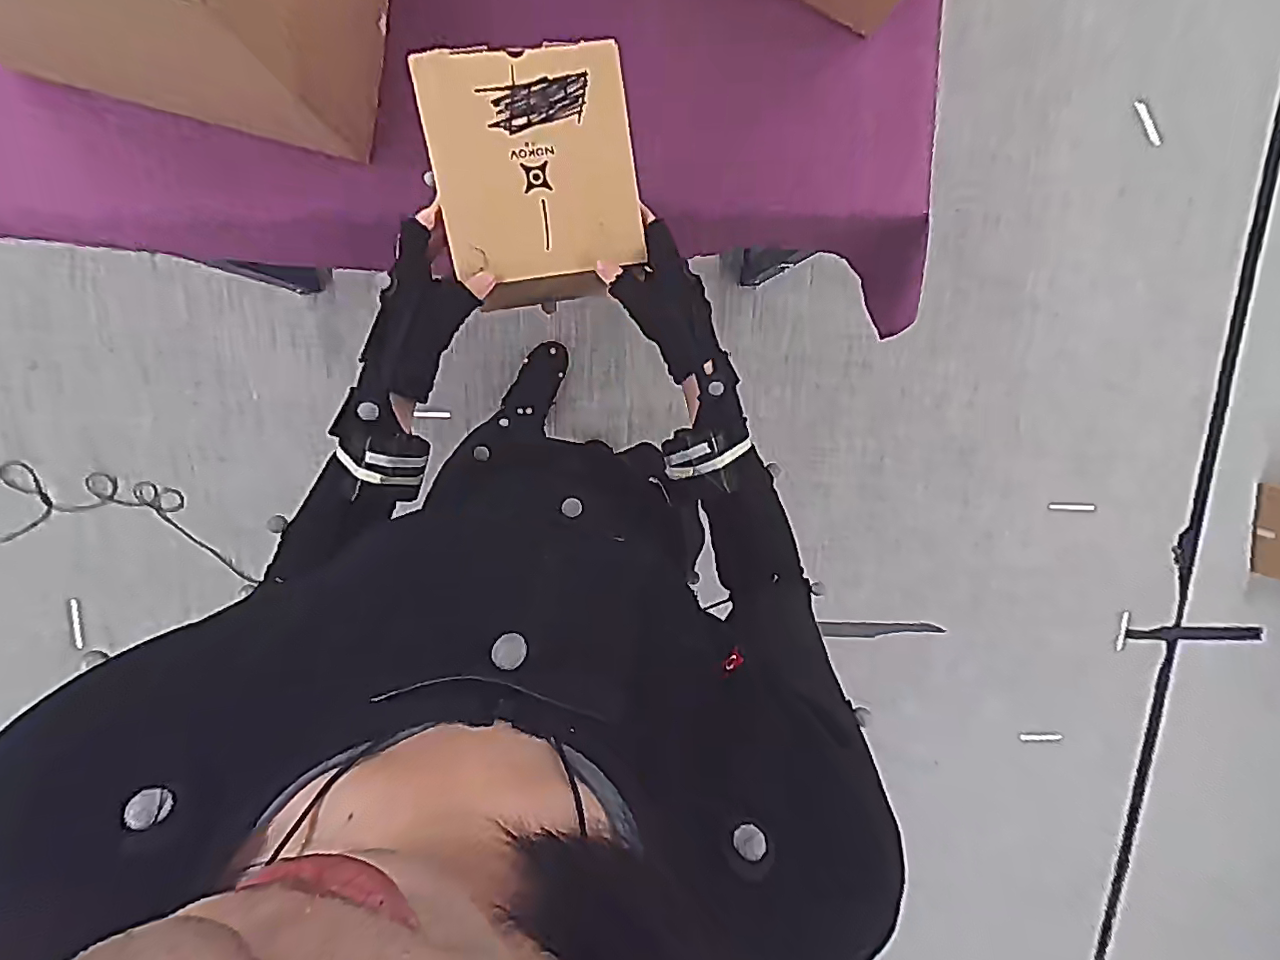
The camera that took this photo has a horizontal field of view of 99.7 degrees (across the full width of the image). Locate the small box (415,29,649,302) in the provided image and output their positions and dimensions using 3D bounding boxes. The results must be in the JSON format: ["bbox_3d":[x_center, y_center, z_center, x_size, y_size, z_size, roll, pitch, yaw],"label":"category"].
[{"bbox_3d":[-0.097,-0.278,0.512,0.168,0.176,0.179,-10,103,-9],"label":"small box"}]
